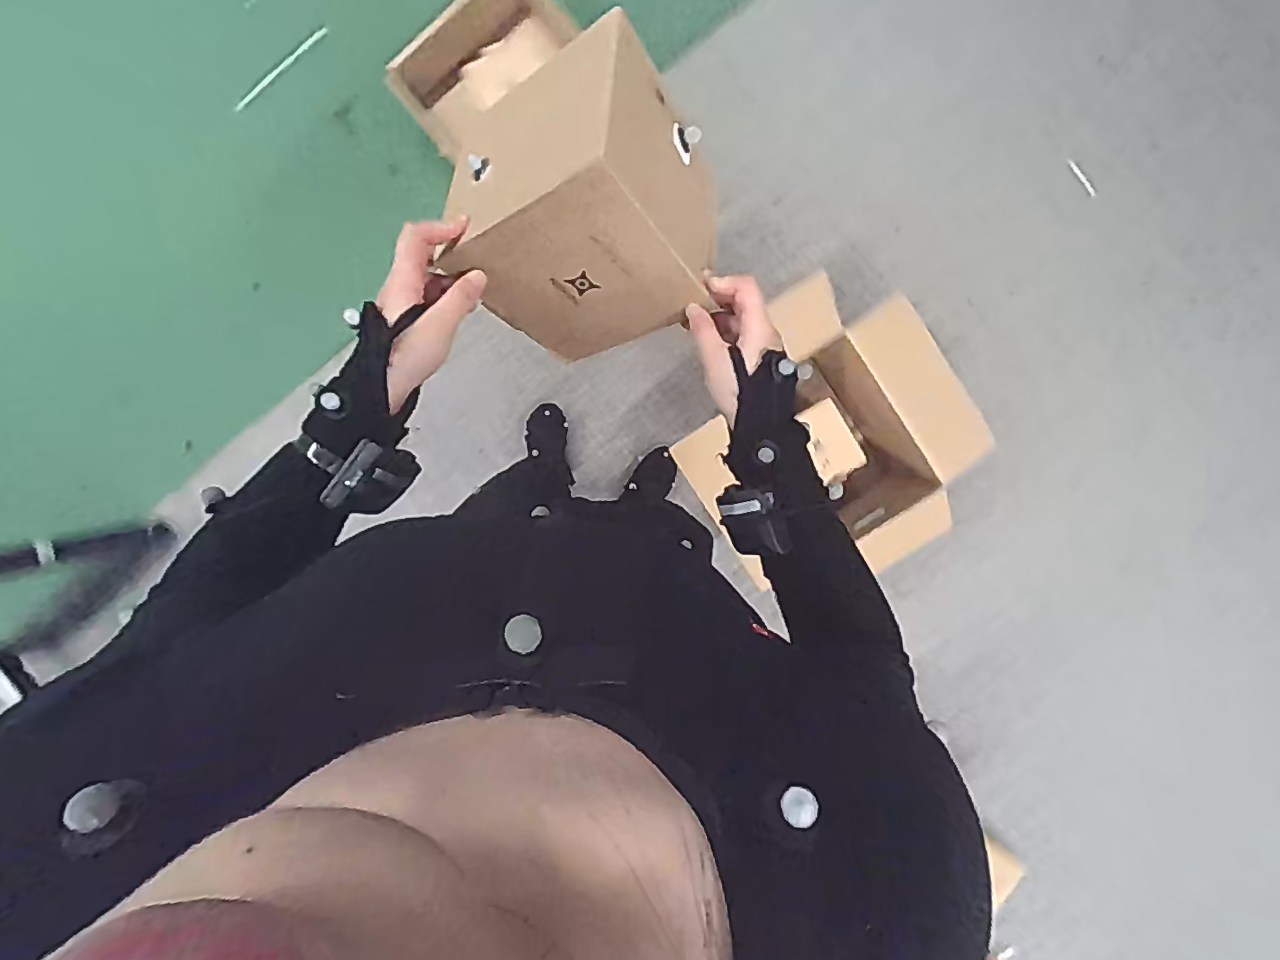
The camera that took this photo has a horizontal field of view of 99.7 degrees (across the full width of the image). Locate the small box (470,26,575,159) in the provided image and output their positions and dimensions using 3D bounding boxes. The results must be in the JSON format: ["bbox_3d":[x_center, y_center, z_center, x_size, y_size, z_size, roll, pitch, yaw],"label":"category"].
[{"bbox_3d":[-0.270,-0.905,1.290,0.168,0.176,0.179,-26,94,3],"label":"small box"}]
